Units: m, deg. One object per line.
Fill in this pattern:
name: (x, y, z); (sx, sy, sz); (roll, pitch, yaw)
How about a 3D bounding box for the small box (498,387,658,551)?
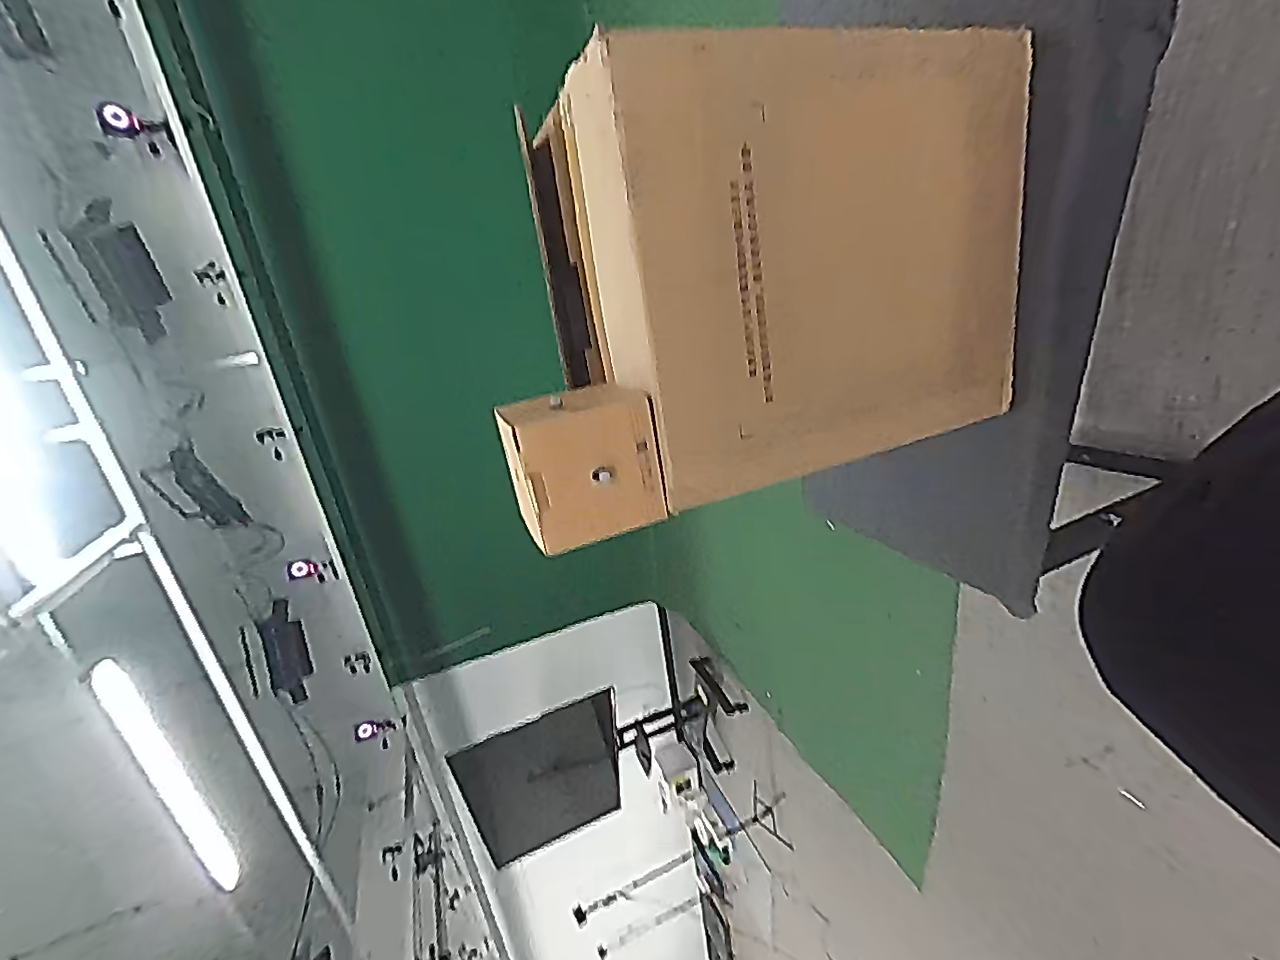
small box: (-0.082, -0.027, 0.749); (0.179, 0.176, 0.168); (-147, 44, -64)
